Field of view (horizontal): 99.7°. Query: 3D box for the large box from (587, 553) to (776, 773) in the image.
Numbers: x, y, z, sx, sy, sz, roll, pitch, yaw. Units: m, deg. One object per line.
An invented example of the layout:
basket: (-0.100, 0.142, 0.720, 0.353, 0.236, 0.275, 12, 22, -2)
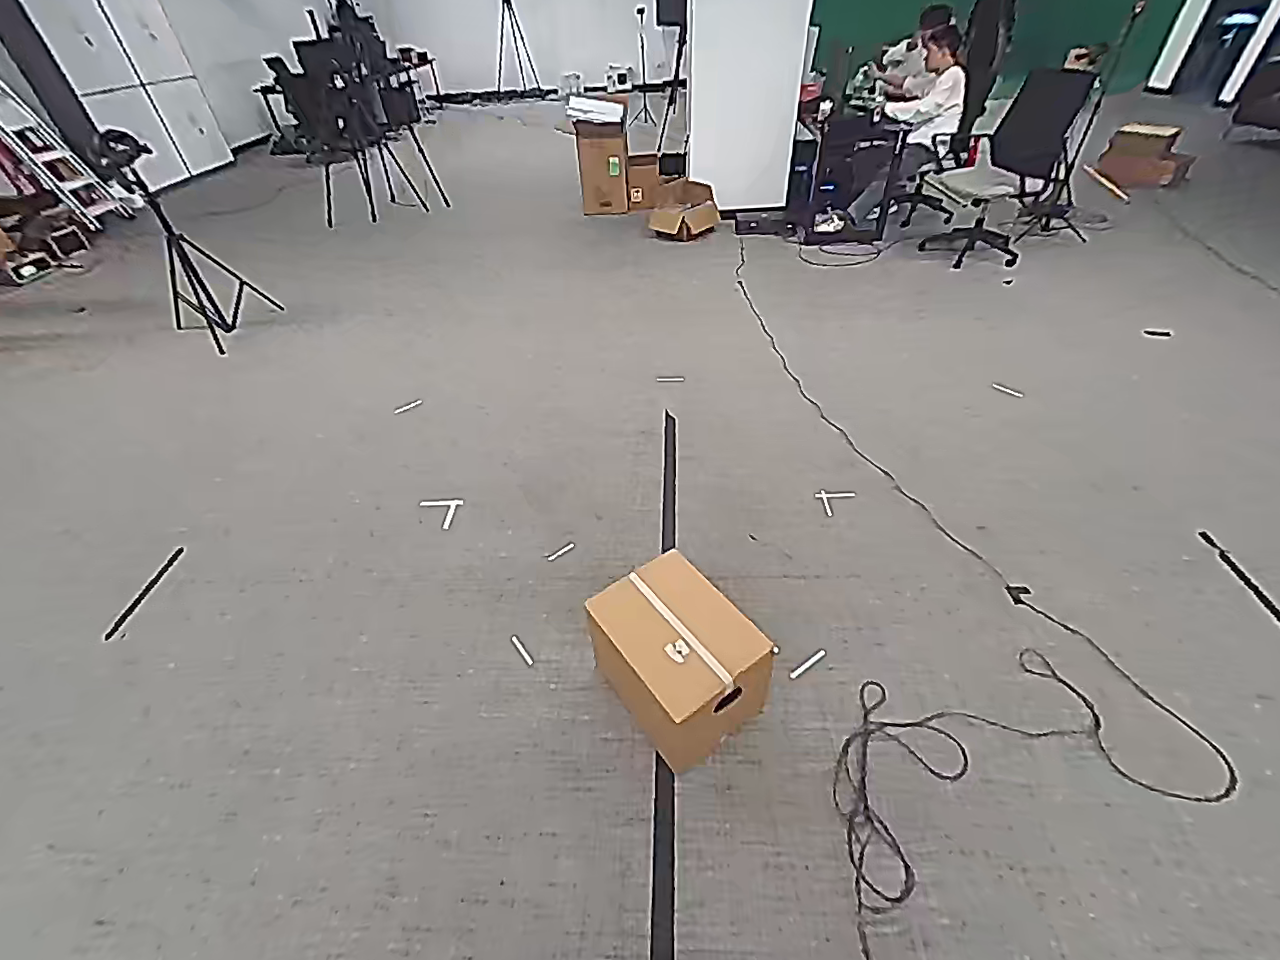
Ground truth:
large box: (0.099, 0.484, 1.475, 0.320, 0.320, 0.408, -28, 48, -24)
